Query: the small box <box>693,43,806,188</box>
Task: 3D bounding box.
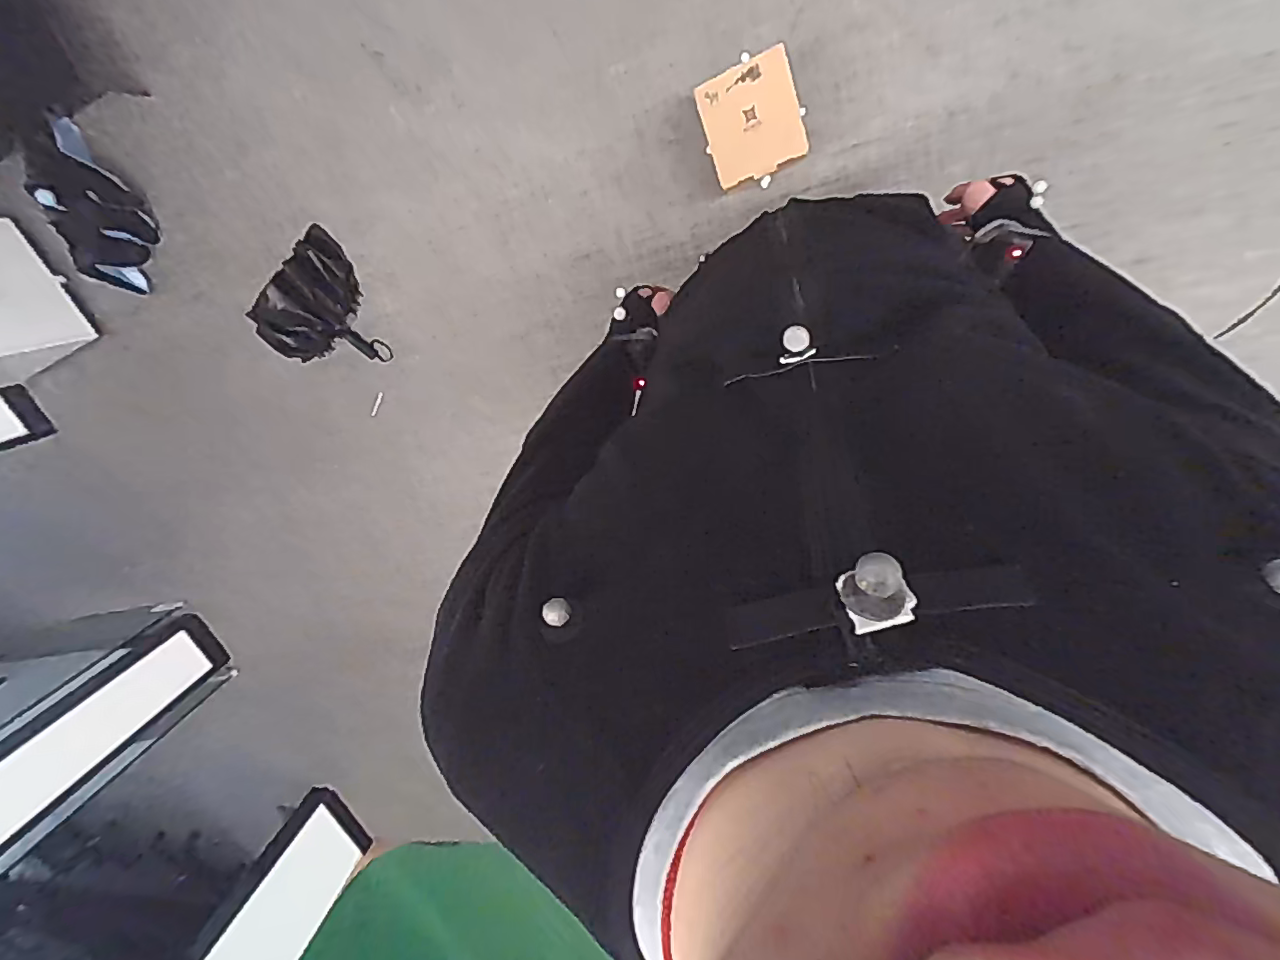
[{"bbox_3d":[0.215,-0.683,1.034,0.168,0.176,0.179,-14,113,21],"label":"small box"}]
